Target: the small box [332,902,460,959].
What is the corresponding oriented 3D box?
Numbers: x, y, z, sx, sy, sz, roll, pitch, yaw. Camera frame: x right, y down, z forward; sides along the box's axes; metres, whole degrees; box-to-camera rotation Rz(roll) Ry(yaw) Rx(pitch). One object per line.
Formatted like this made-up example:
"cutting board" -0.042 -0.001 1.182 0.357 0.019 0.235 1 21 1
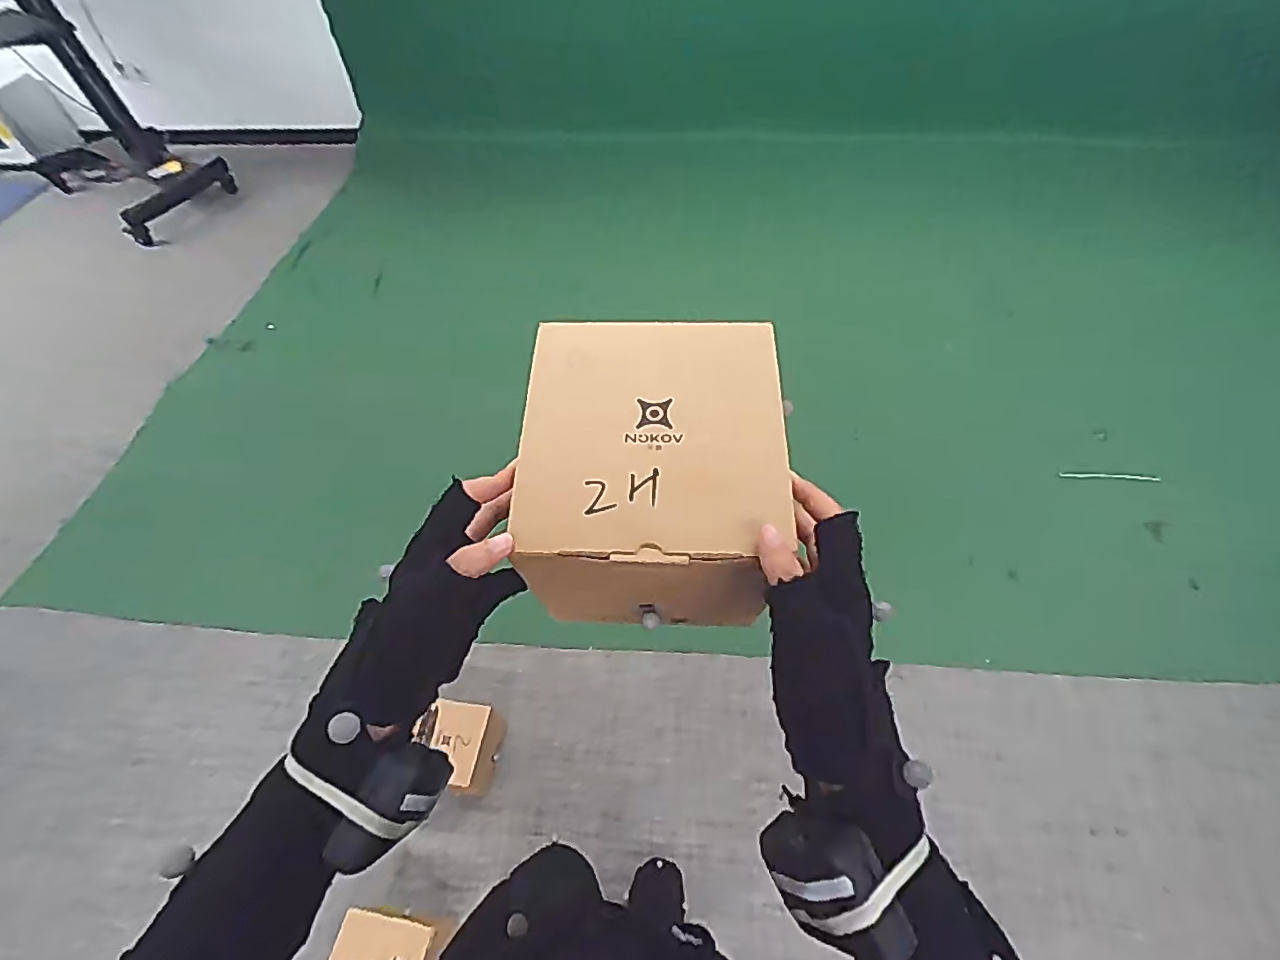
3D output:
"small box" -0.470 0.925 1.032 0.179 0.176 0.168 7 54 8
